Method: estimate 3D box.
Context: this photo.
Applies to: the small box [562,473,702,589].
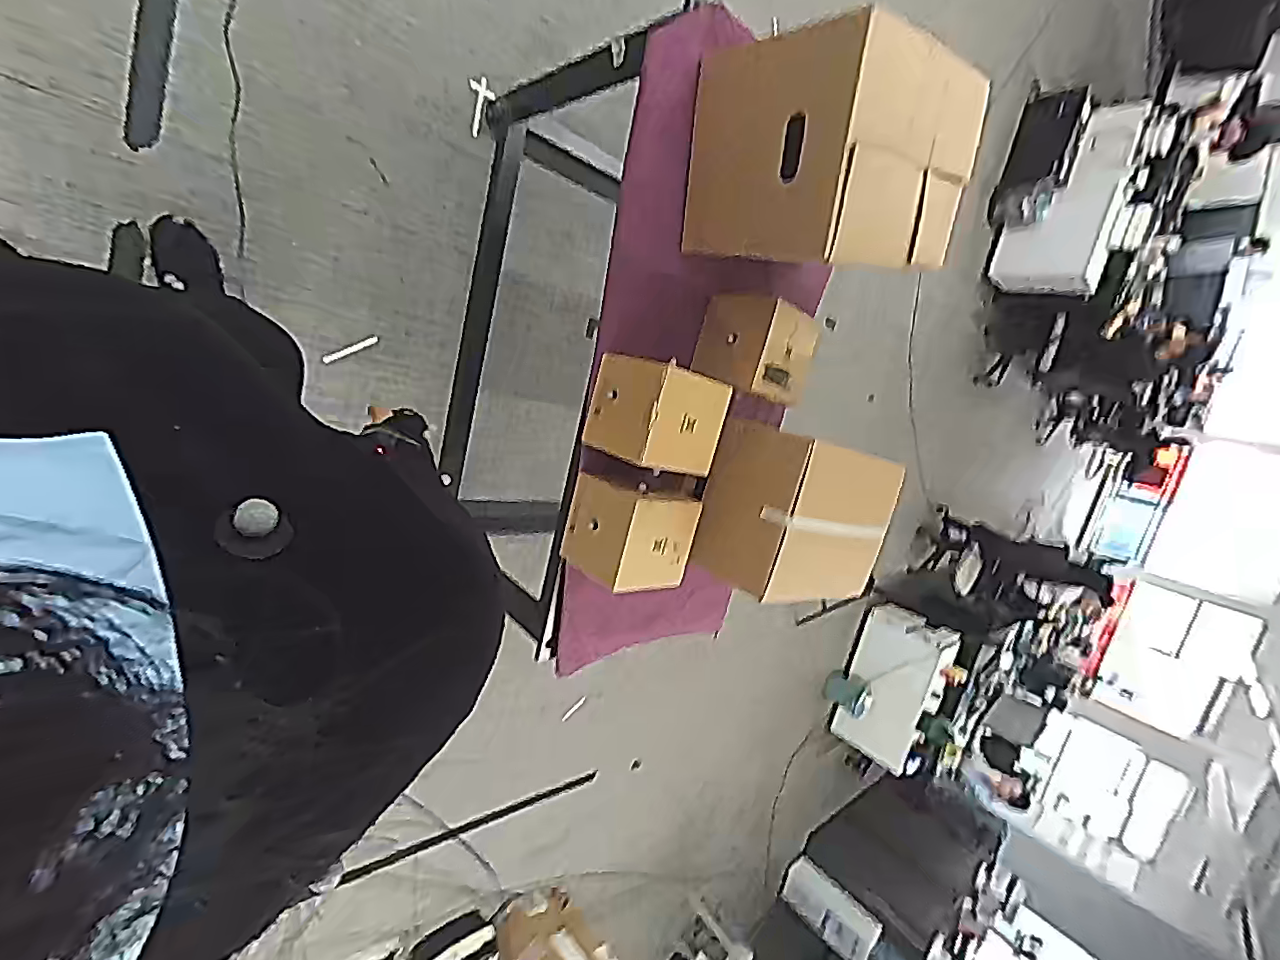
[{"bbox_3d":[-0.020,0.090,1.007,0.179,0.176,0.168,6,103,-45],"label":"small box"}]
